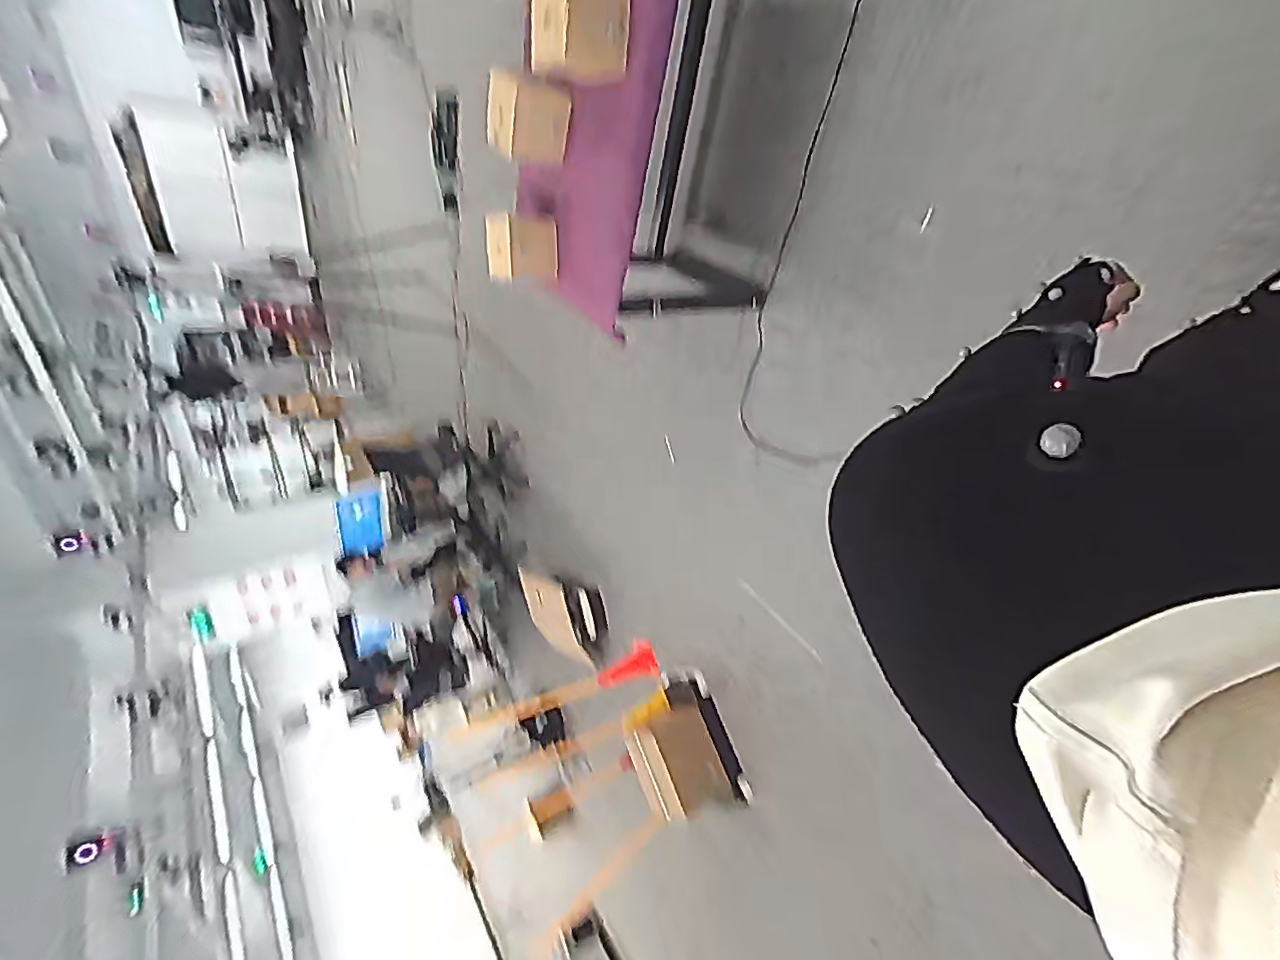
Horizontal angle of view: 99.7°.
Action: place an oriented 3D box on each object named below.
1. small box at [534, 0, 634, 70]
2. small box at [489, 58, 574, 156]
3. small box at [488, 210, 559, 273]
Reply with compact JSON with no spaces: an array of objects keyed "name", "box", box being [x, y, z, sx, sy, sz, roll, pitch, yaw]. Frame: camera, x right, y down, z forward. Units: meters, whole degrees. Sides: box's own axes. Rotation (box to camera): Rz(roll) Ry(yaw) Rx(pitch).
[{"name":"small box","box":[-0.133,-1.081,1.265,0.179,0.176,0.168,37,132,43]},{"name":"small box","box":[-0.305,-1.044,1.524,0.168,0.176,0.179,51,138,30]},{"name":"small box","box":[-0.367,-0.758,1.717,0.168,0.176,0.179,28,124,45]}]
